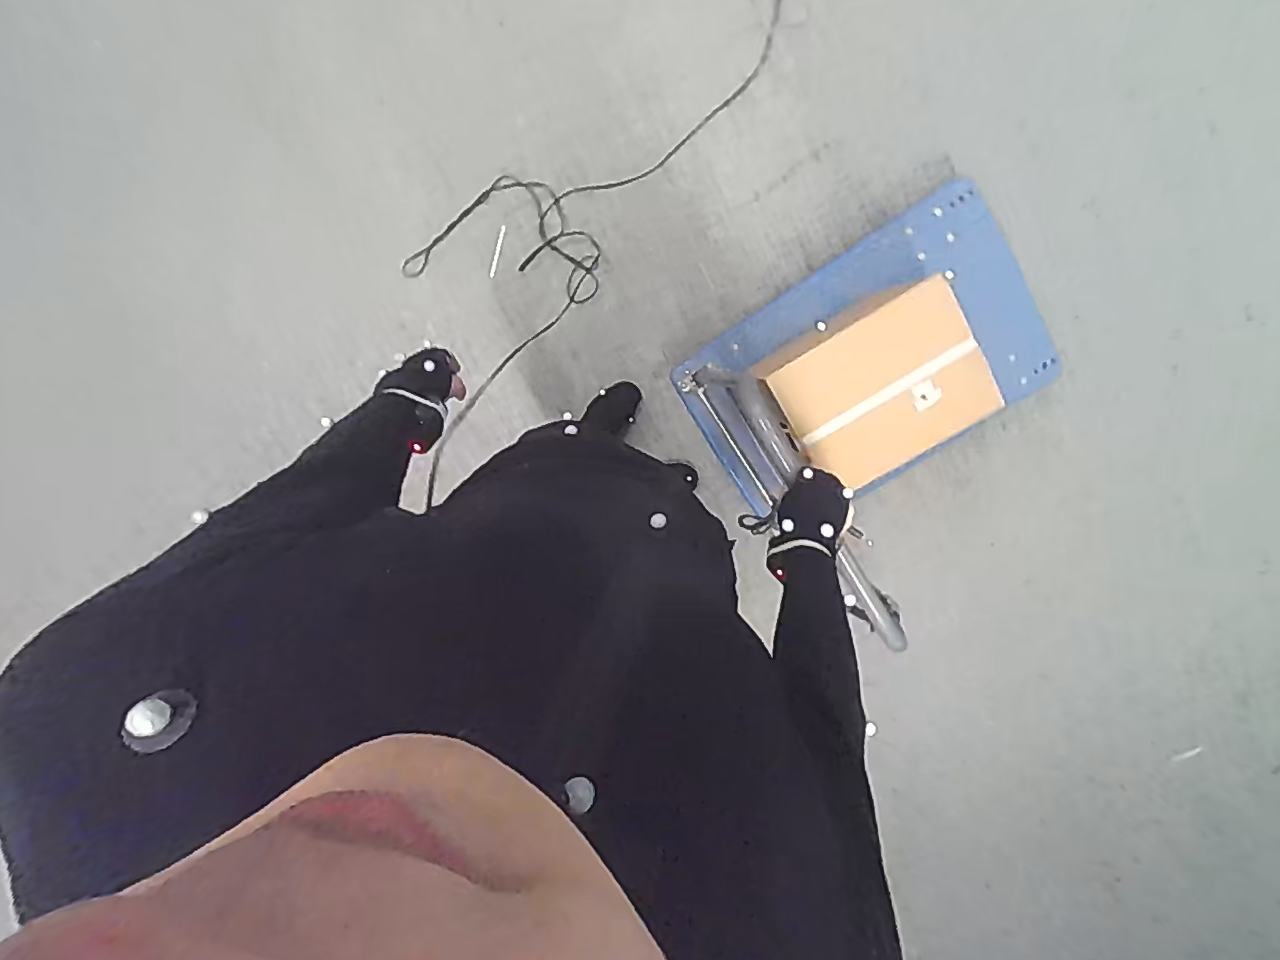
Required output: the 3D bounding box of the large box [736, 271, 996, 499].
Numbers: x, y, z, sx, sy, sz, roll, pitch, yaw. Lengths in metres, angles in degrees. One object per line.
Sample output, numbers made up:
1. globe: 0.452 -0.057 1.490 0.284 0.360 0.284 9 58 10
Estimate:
1. large box: 0.490 -0.214 1.257 0.408 0.320 0.320 -31 101 5
